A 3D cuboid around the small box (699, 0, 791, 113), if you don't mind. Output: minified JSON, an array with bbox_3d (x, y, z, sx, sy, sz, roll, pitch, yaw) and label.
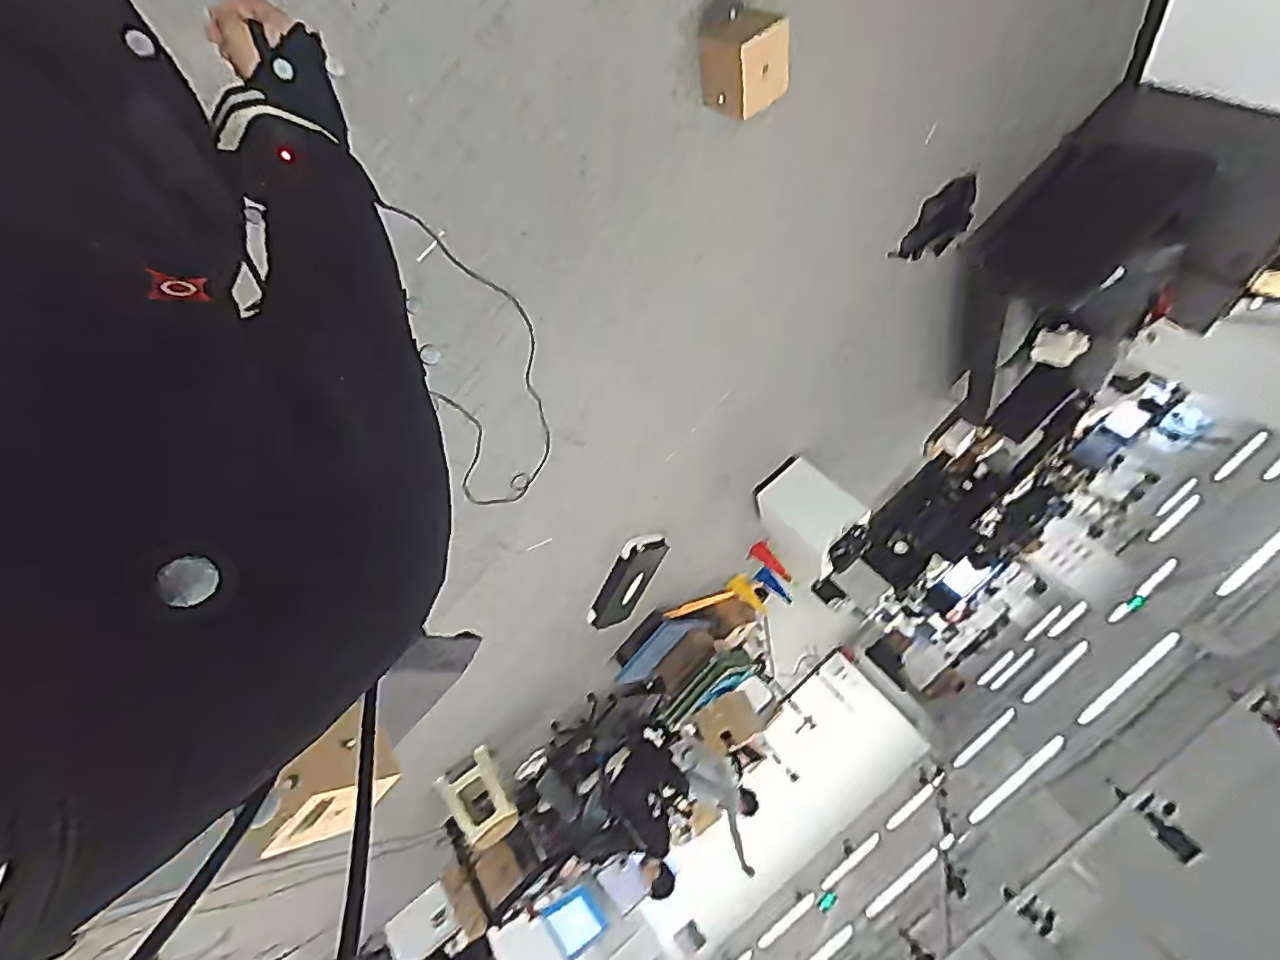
[{"bbox_3d":[0.276,-1.121,1.425,0.168,0.176,0.179,-39,148,-9],"label":"small box"}]
